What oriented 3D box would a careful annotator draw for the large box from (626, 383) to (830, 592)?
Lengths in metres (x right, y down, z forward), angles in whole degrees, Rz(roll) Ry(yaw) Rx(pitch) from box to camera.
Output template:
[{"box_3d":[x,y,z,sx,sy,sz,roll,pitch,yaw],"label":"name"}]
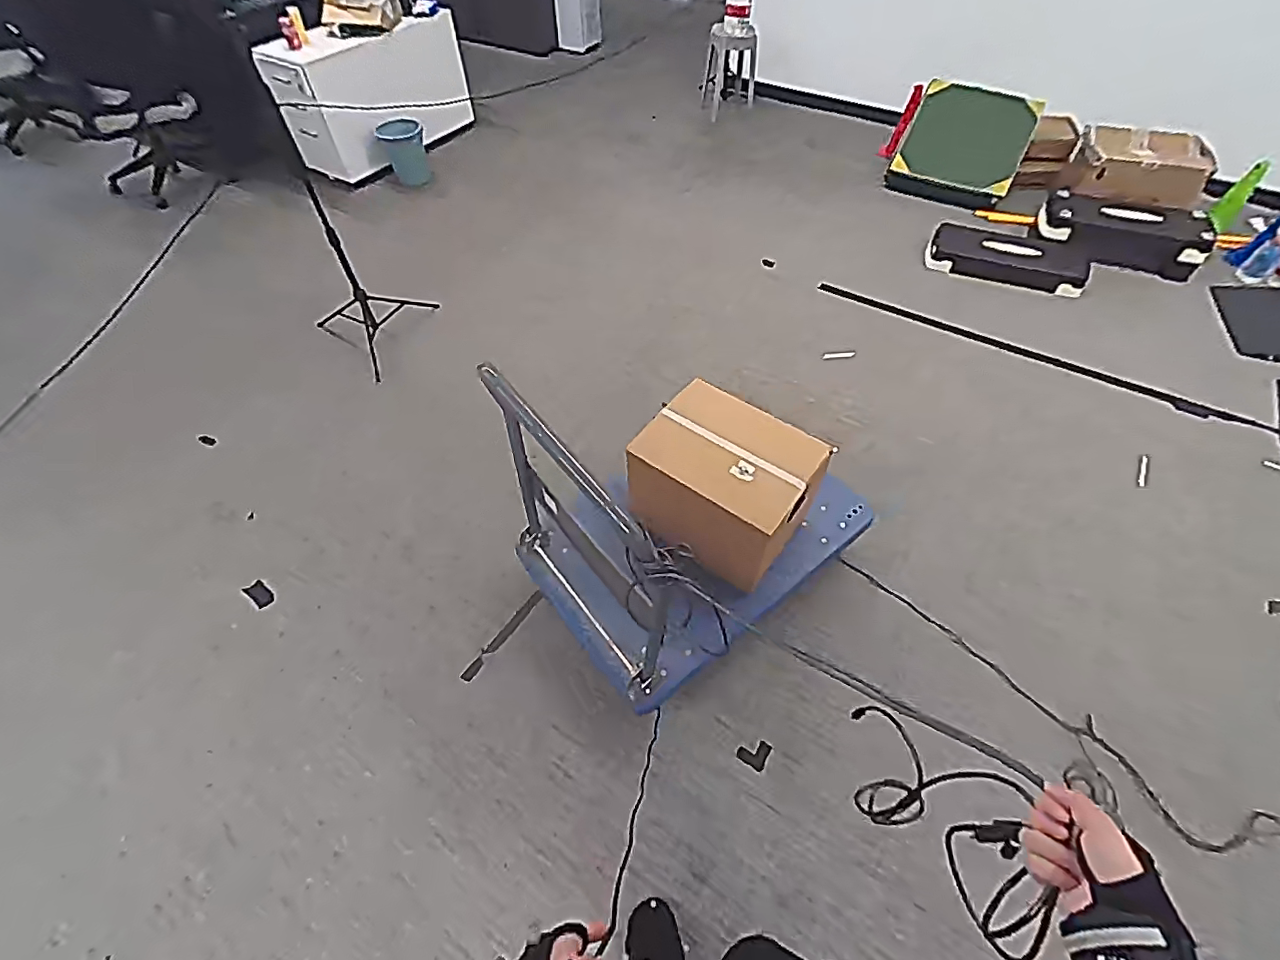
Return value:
[{"box_3d":[0.209,0.018,1.421,0.408,0.320,0.320,32,61,21],"label":"large box"}]
